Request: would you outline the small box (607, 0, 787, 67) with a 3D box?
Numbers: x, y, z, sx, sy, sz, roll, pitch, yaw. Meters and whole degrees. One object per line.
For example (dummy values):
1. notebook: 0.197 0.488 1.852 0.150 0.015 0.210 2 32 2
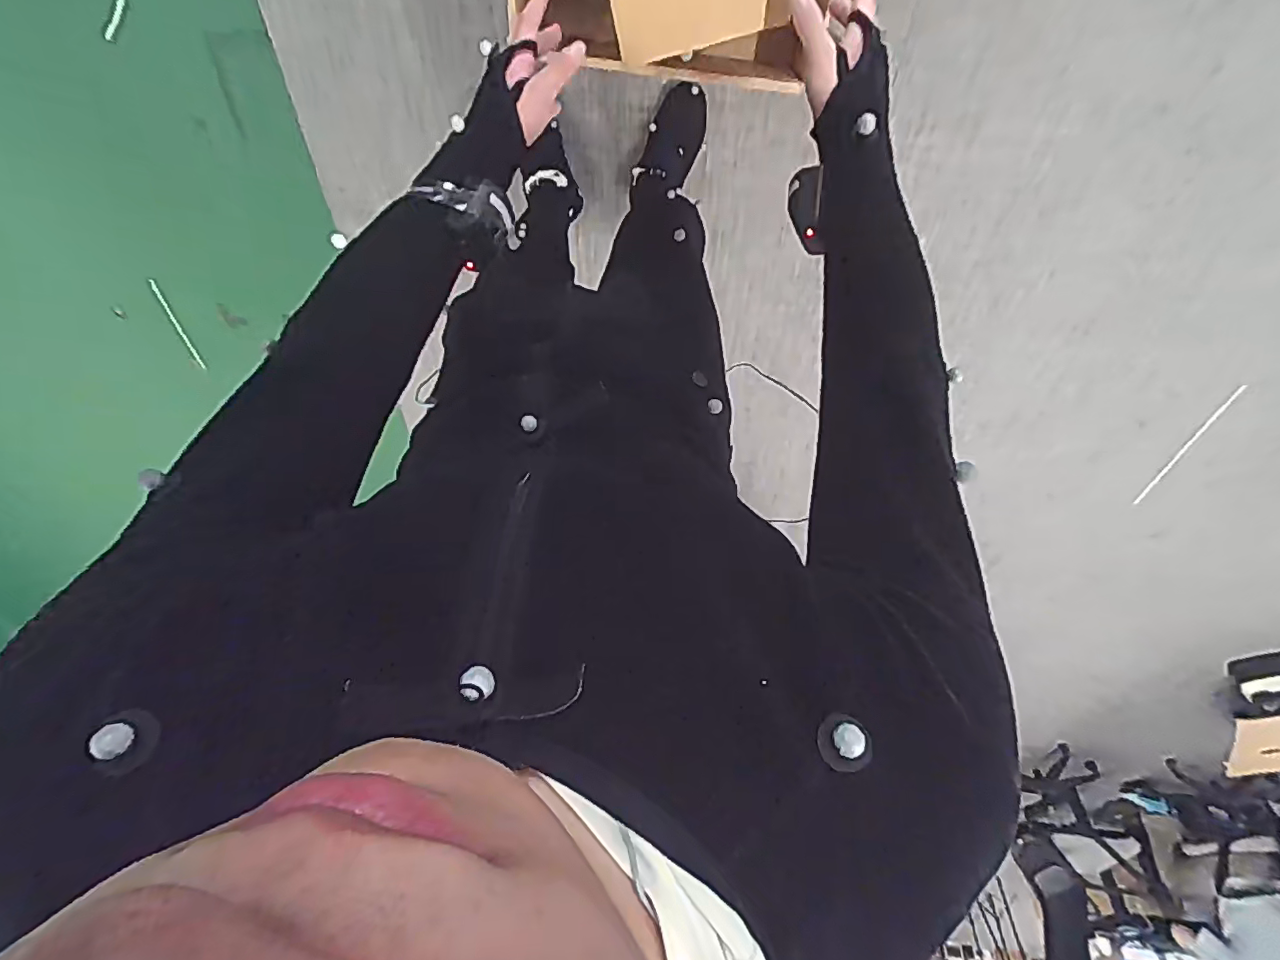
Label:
1. small box: 0.049 -0.537 0.519 0.168 0.176 0.179 -6 133 14
